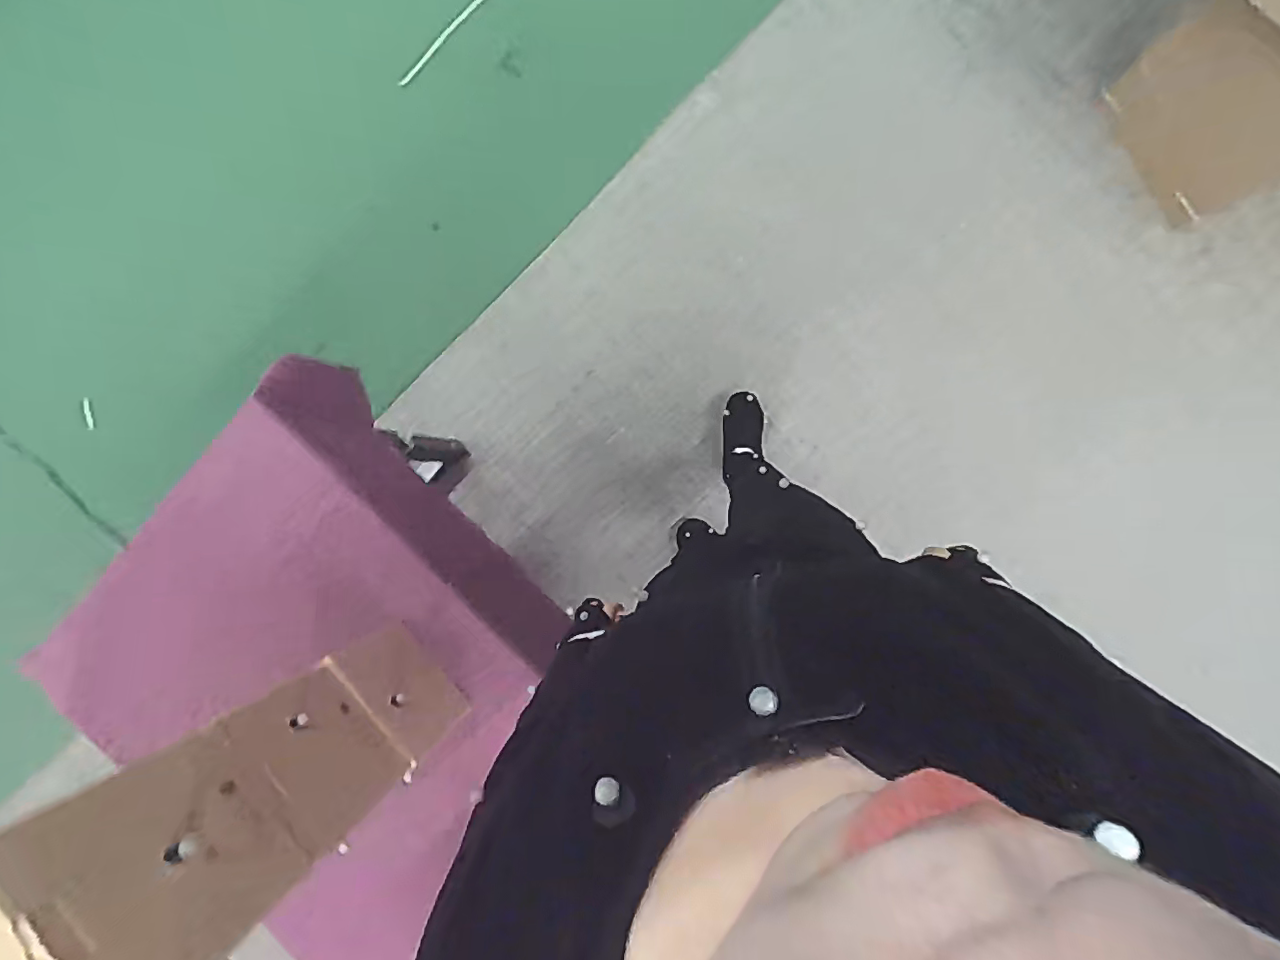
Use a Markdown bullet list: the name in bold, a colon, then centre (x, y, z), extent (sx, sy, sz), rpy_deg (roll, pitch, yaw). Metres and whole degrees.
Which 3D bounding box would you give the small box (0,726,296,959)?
- **small box**: centre (-0.419, 0.337, 0.428), extent (0.179, 0.176, 0.168), rpy_deg (-43, 85, 5)

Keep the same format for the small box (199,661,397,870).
- **small box**: centre (-0.400, 0.332, 0.591), extent (0.179, 0.176, 0.168), rpy_deg (-42, 86, 7)
